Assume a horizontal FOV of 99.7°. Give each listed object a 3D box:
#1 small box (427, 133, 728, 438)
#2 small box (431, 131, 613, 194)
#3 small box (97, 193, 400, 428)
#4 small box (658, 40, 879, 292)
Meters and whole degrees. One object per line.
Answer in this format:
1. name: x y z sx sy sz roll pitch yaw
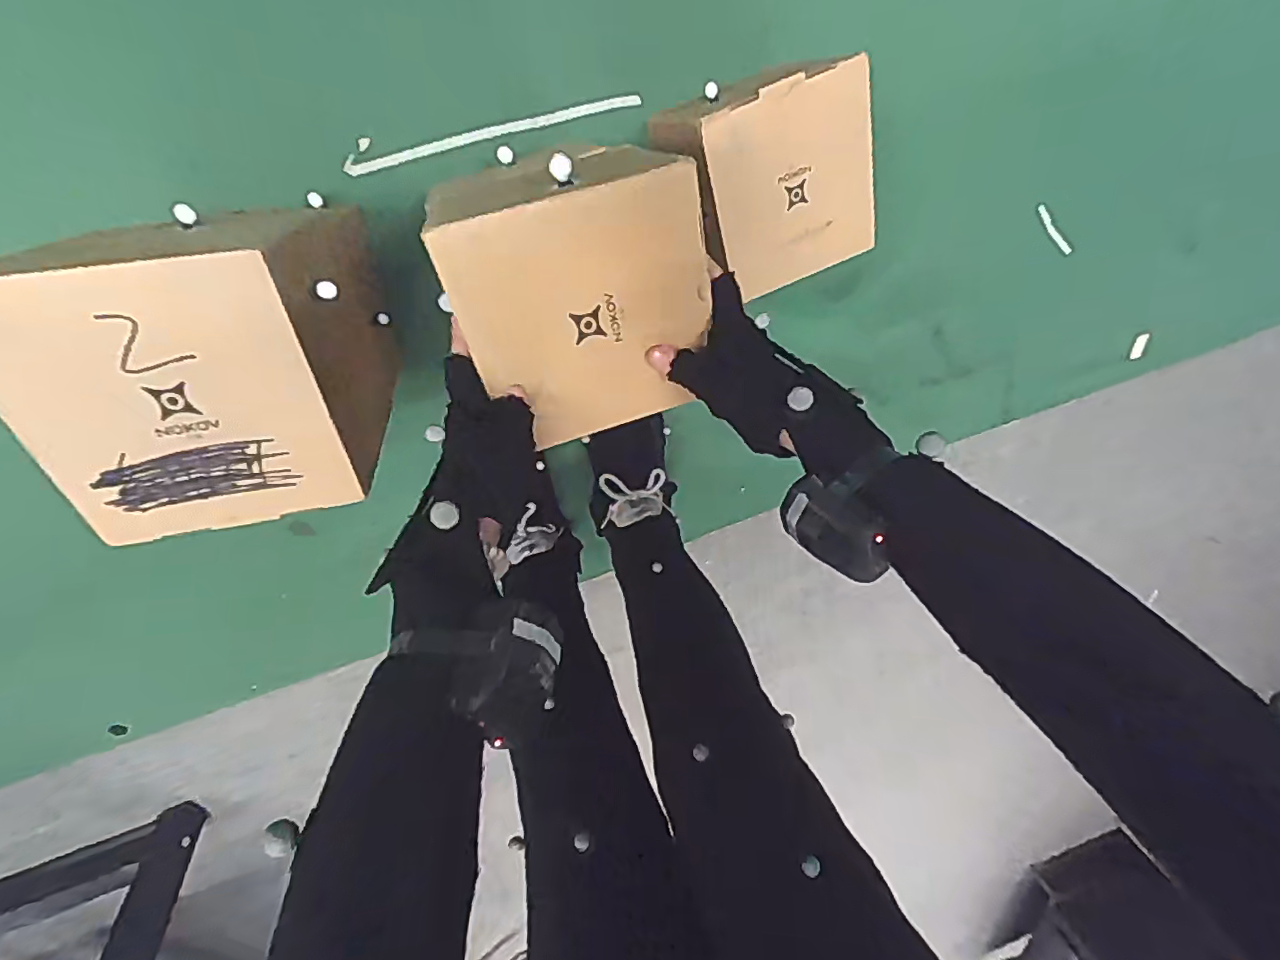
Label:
1. small box: -0.049 -0.162 0.431 0.179 0.176 0.168 -18 126 -7
2. small box: -0.098 -0.242 0.563 0.168 0.176 0.179 -20 126 -5
3. small box: -0.344 -0.174 0.525 0.168 0.176 0.179 -9 126 -12
4. small box: 0.132 -0.332 0.582 0.168 0.176 0.179 -23 127 -3
